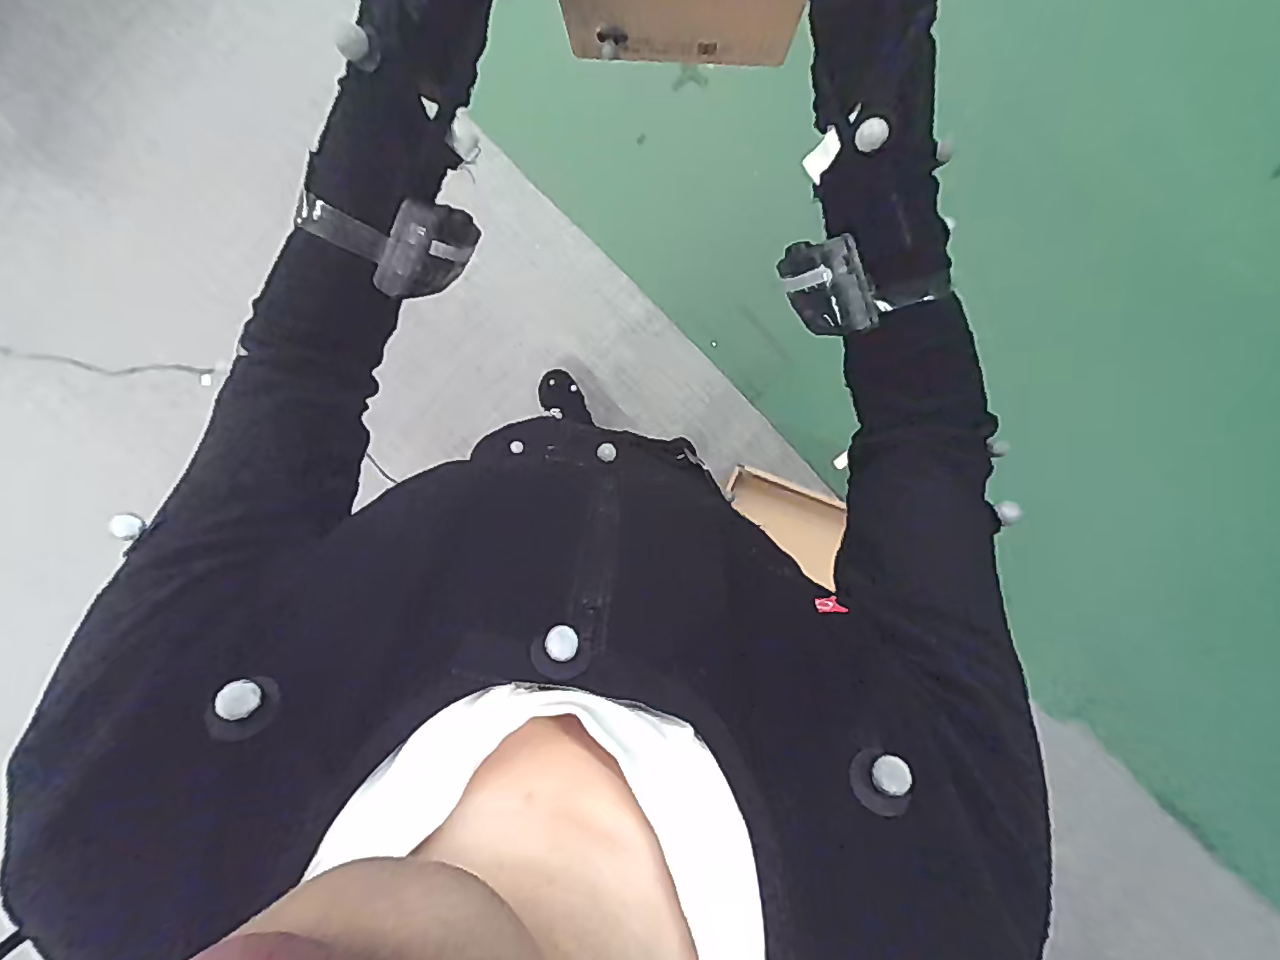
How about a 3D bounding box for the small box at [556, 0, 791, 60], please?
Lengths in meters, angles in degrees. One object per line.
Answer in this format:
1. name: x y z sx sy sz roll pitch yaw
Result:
1. small box: 0.024 -0.397 0.329 0.168 0.176 0.179 3 99 2
